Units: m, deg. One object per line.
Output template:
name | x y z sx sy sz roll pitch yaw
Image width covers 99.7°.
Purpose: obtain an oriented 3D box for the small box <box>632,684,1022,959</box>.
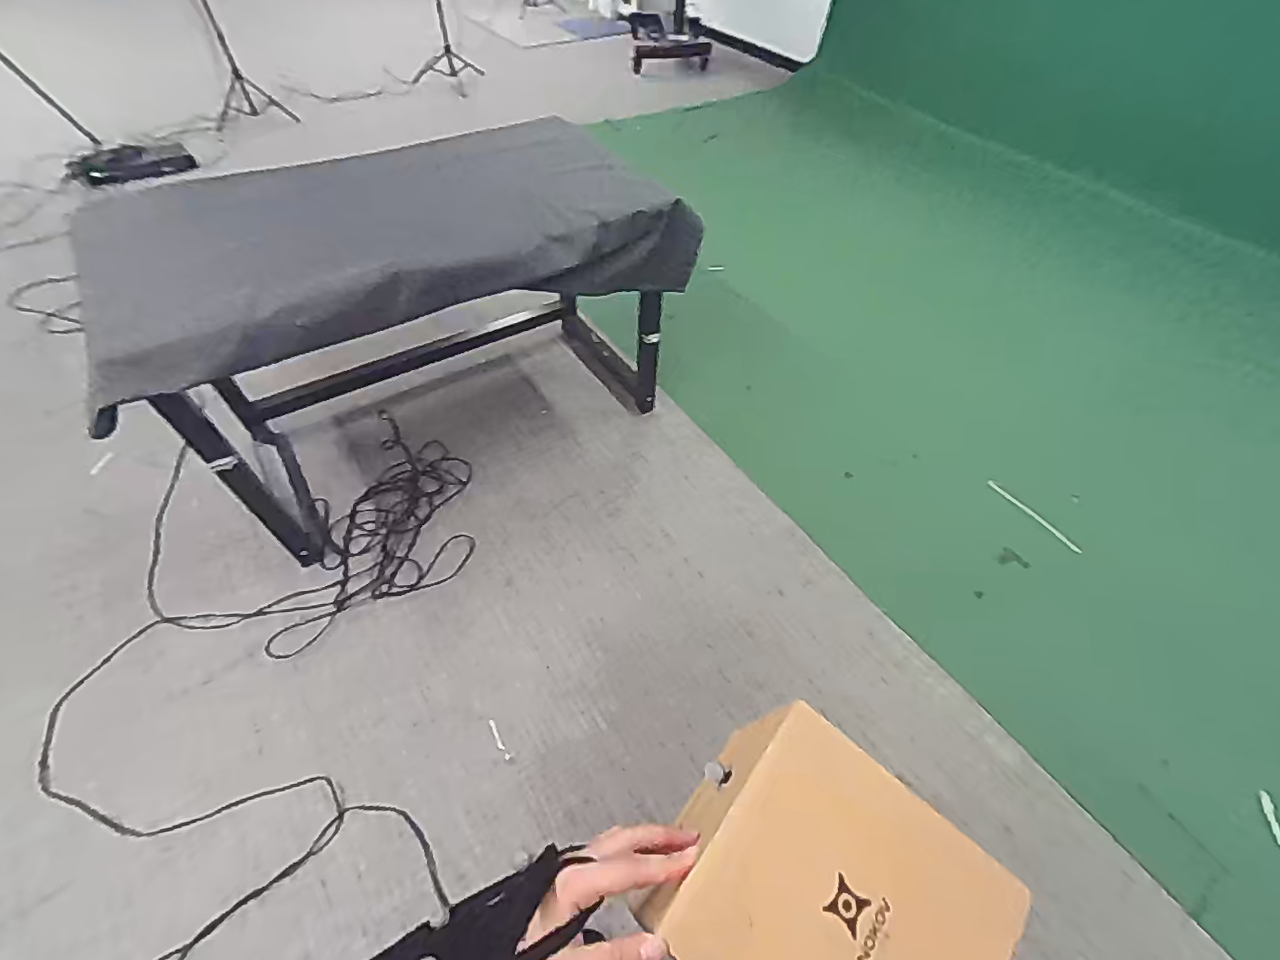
small box | 0.112 0.284 0.385 0.179 0.176 0.168 37 60 14
